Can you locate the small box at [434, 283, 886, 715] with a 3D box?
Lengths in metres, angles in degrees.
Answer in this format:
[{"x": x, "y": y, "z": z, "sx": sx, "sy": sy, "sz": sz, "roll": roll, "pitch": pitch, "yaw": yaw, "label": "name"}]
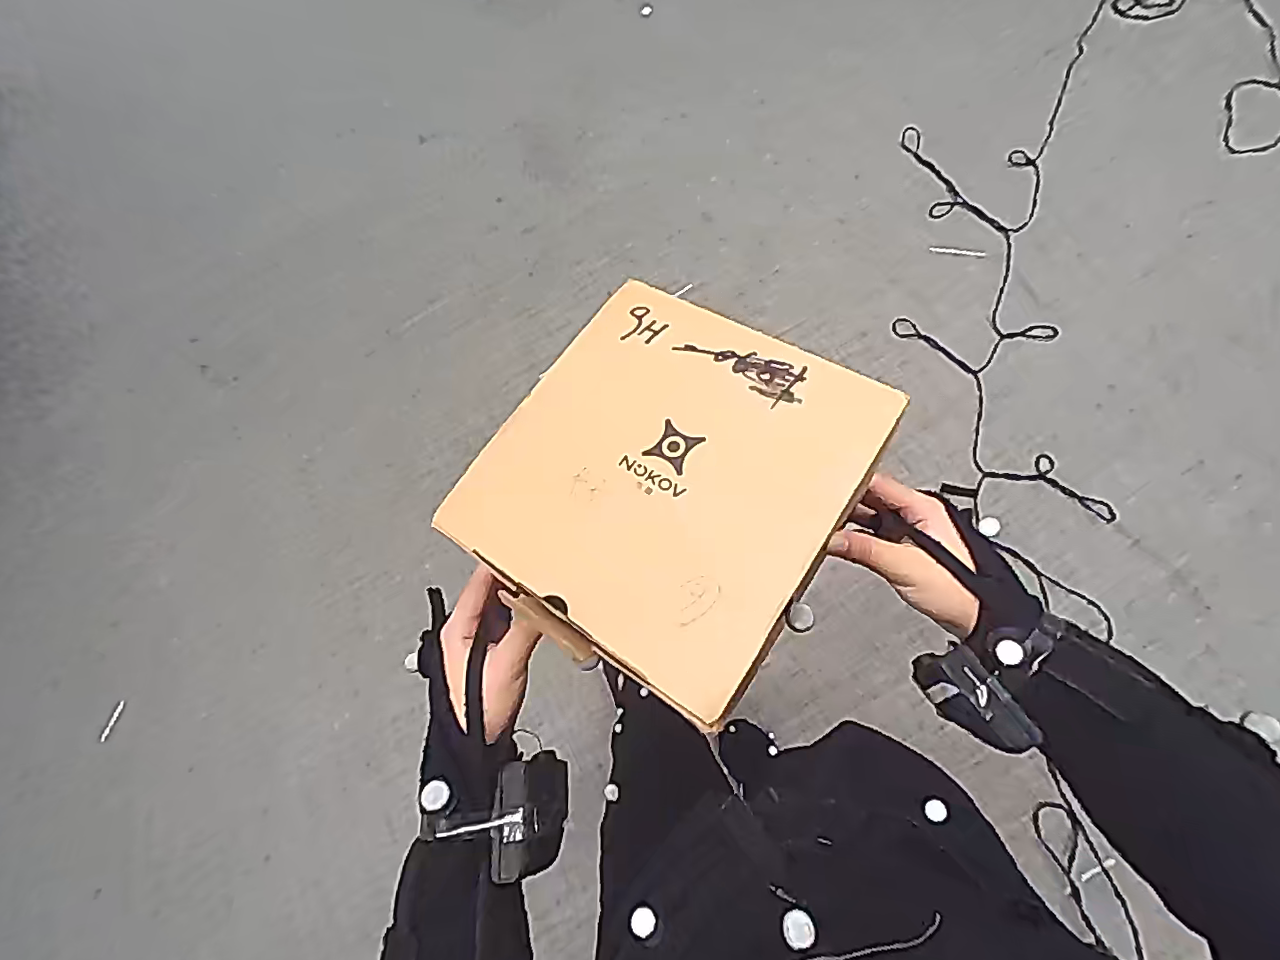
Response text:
[{"x": 0.021, "y": 0.022, "z": 0.337, "sx": 0.168, "sy": 0.176, "sz": 0.179, "roll": 31, "pitch": 75, "yaw": 21, "label": "small box"}]
